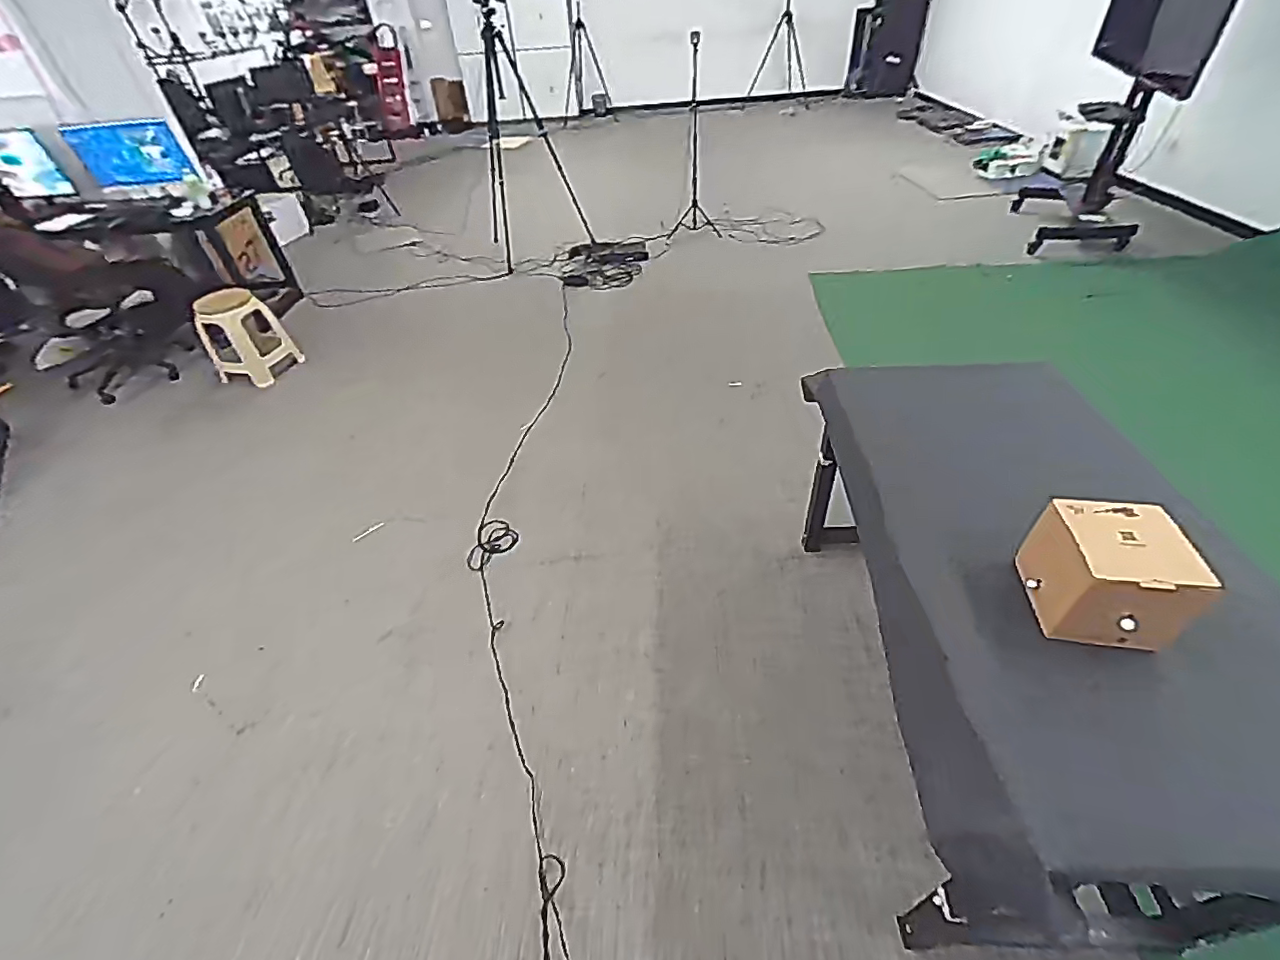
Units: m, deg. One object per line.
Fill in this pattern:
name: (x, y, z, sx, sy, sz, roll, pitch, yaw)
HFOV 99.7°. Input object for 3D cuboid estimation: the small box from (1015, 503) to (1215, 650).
small box: (0.773, 0.163, 0.907, 0.168, 0.176, 0.179, 4, 44, 10)
